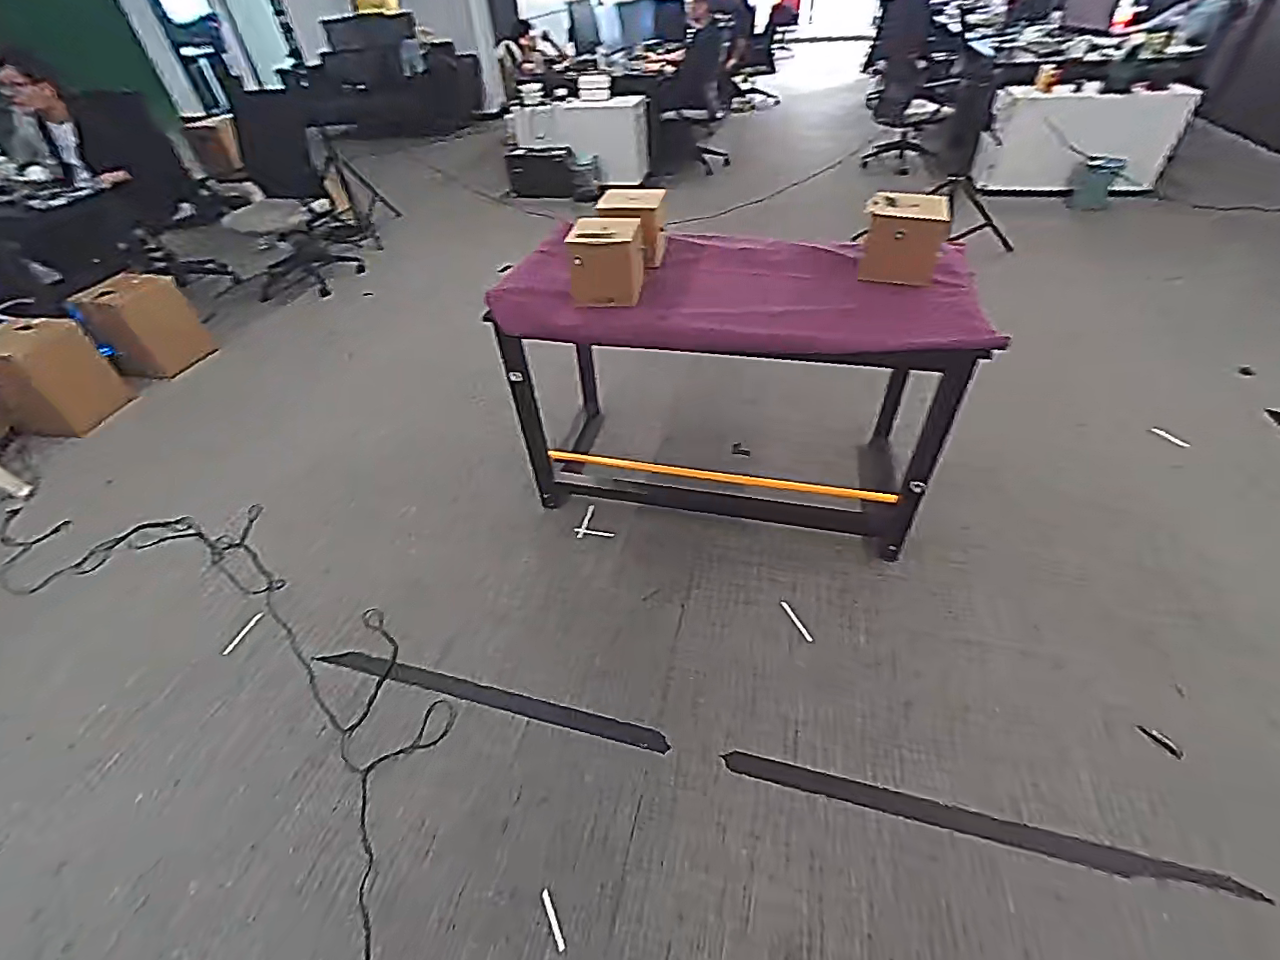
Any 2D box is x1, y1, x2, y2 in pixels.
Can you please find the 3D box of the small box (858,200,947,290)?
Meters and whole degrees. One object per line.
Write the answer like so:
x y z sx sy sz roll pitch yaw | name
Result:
0.681 -0.615 1.415 0.179 0.176 0.168 13 48 16 | small box

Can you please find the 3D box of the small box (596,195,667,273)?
-0.018 -0.723 1.592 0.179 0.176 0.168 5 44 10 | small box
